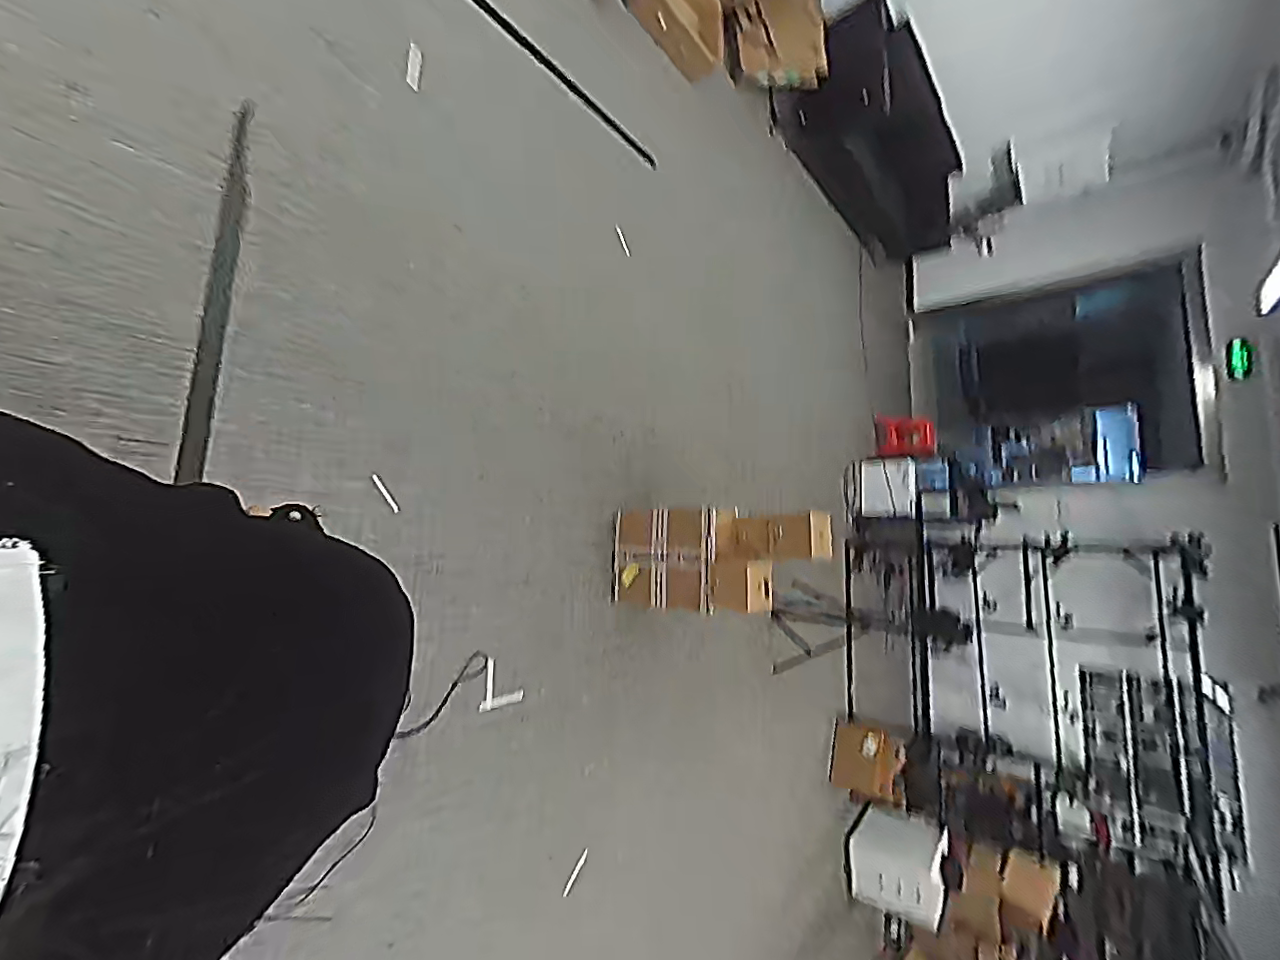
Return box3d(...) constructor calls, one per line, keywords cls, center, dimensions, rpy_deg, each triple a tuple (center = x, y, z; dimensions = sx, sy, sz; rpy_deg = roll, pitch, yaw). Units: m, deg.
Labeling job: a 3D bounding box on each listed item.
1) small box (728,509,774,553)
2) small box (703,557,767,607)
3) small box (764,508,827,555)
box3d(cls="small box", center=(0.463, 0.201, 2.117), dimensions=(0.179, 0.176, 0.168), rpy_deg=(9, 79, -48))
box3d(cls="small box", center=(0.347, 0.366, 1.966), dimensions=(0.179, 0.176, 0.168), rpy_deg=(6, 82, -48))
box3d(cls="small box", center=(0.571, 0.192, 1.994), dimensions=(0.179, 0.176, 0.168), rpy_deg=(8, 79, -47))
